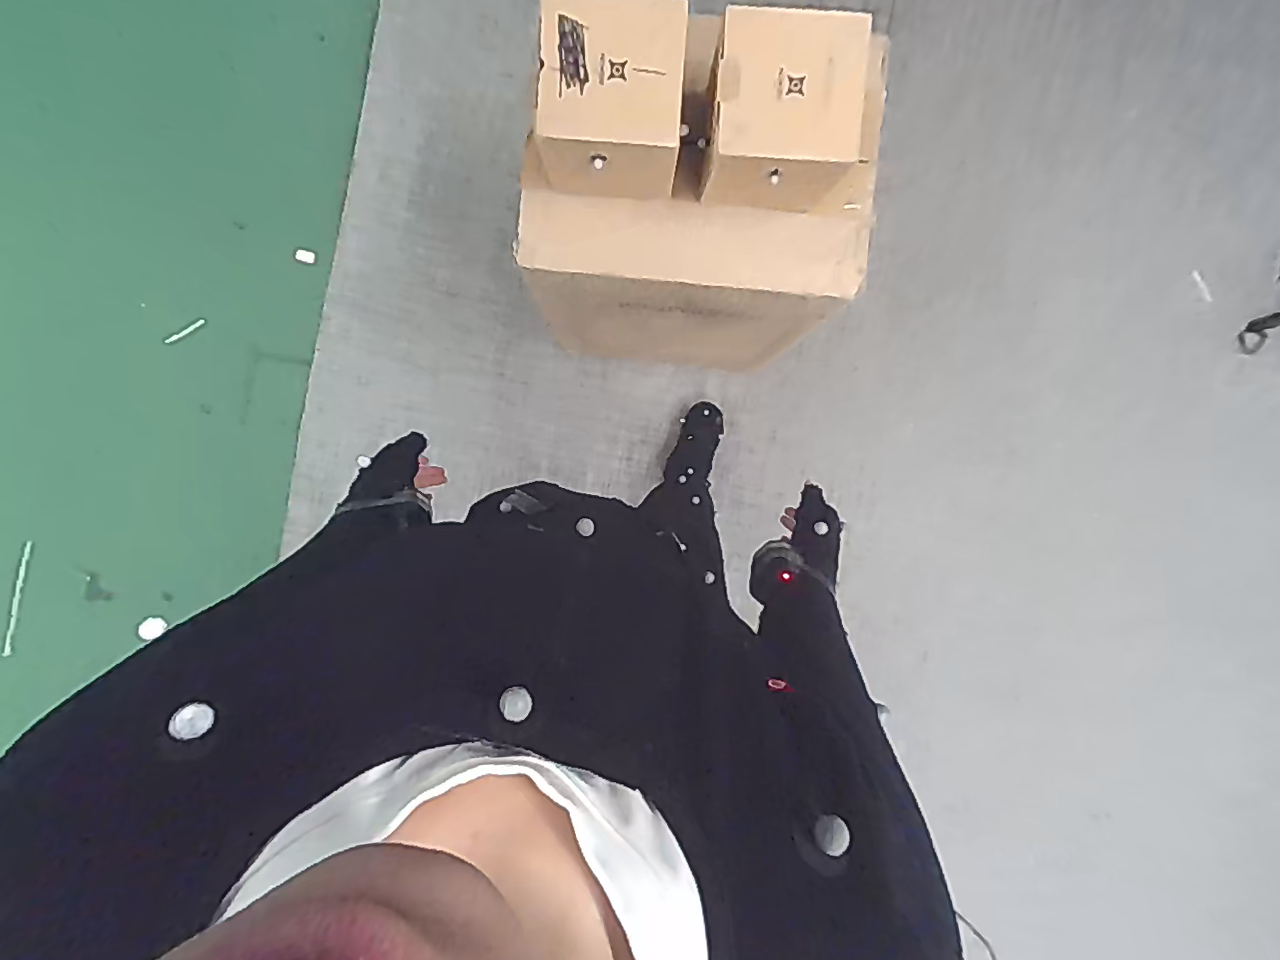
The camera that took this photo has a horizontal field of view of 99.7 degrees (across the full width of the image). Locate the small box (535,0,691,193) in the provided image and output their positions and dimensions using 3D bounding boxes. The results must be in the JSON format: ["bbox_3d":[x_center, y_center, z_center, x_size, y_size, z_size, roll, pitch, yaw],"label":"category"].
[{"bbox_3d":[-0.034,-0.503,0.718,0.179,0.176,0.168,4,98,-2],"label":"small box"}]

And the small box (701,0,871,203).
[{"bbox_3d":[0.180,-0.488,0.723,0.179,0.176,0.168,2,98,-2],"label":"small box"}]
